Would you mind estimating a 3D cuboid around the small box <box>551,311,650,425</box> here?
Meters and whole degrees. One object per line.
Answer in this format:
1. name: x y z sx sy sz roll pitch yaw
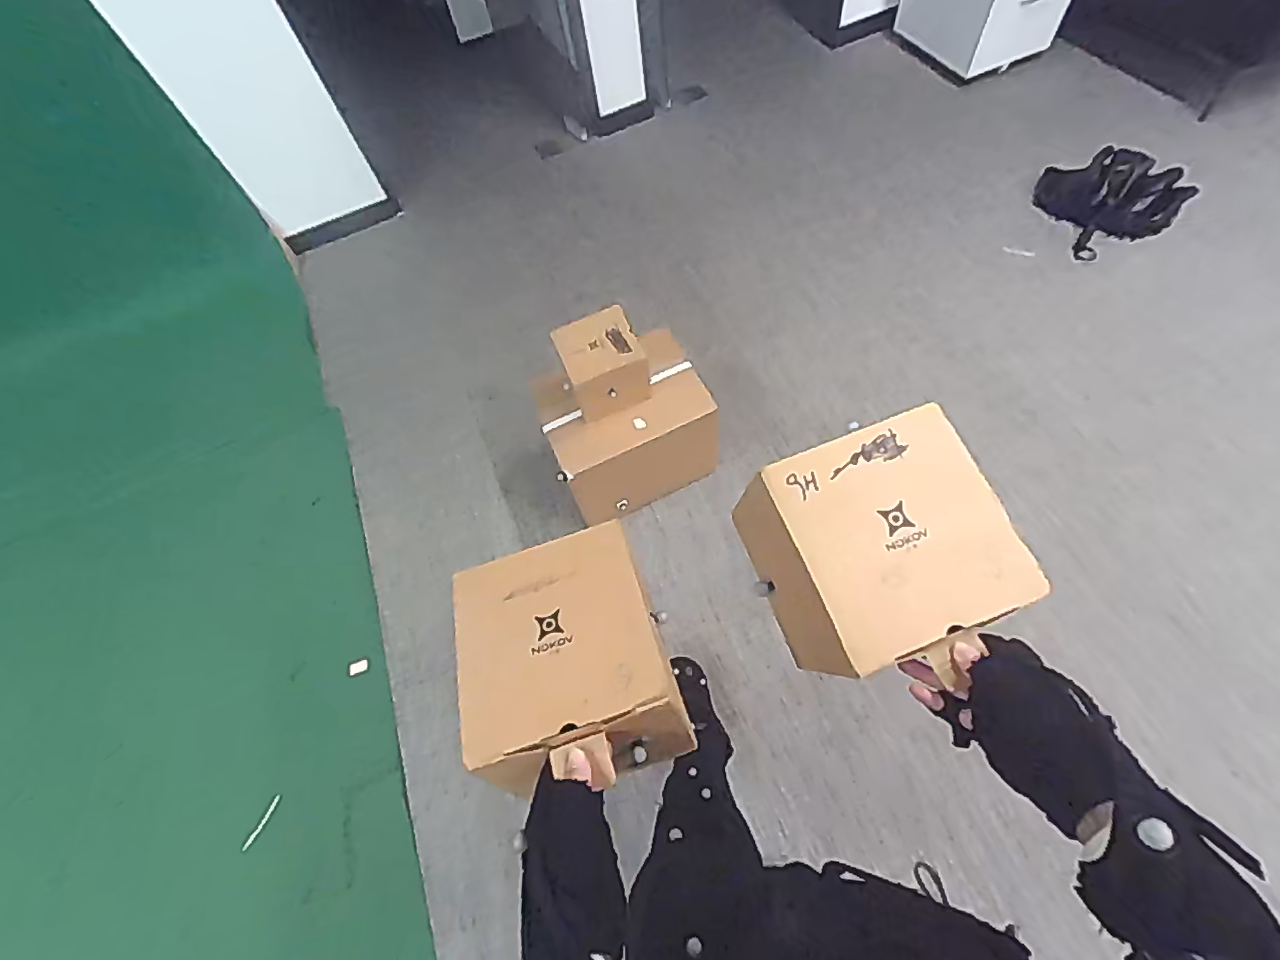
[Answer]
1. small box: -0.087 -0.260 1.282 0.179 0.176 0.168 -26 68 -7
